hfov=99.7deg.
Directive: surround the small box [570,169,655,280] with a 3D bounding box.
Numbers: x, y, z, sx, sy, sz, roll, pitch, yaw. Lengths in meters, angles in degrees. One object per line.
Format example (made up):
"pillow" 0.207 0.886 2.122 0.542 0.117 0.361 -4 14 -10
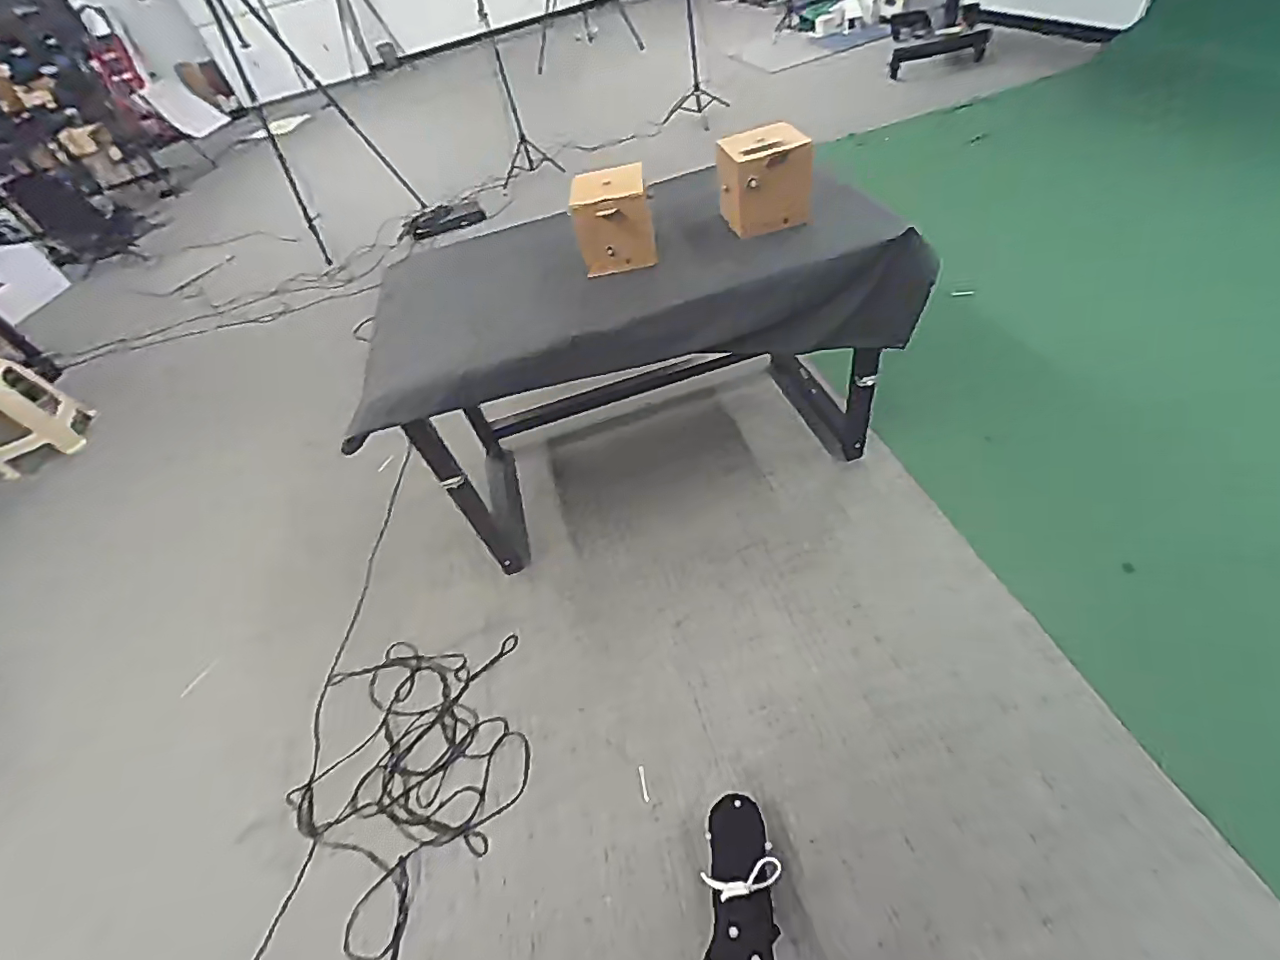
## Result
"small box" -0.059 -0.595 1.265 0.168 0.176 0.179 -7 48 7
